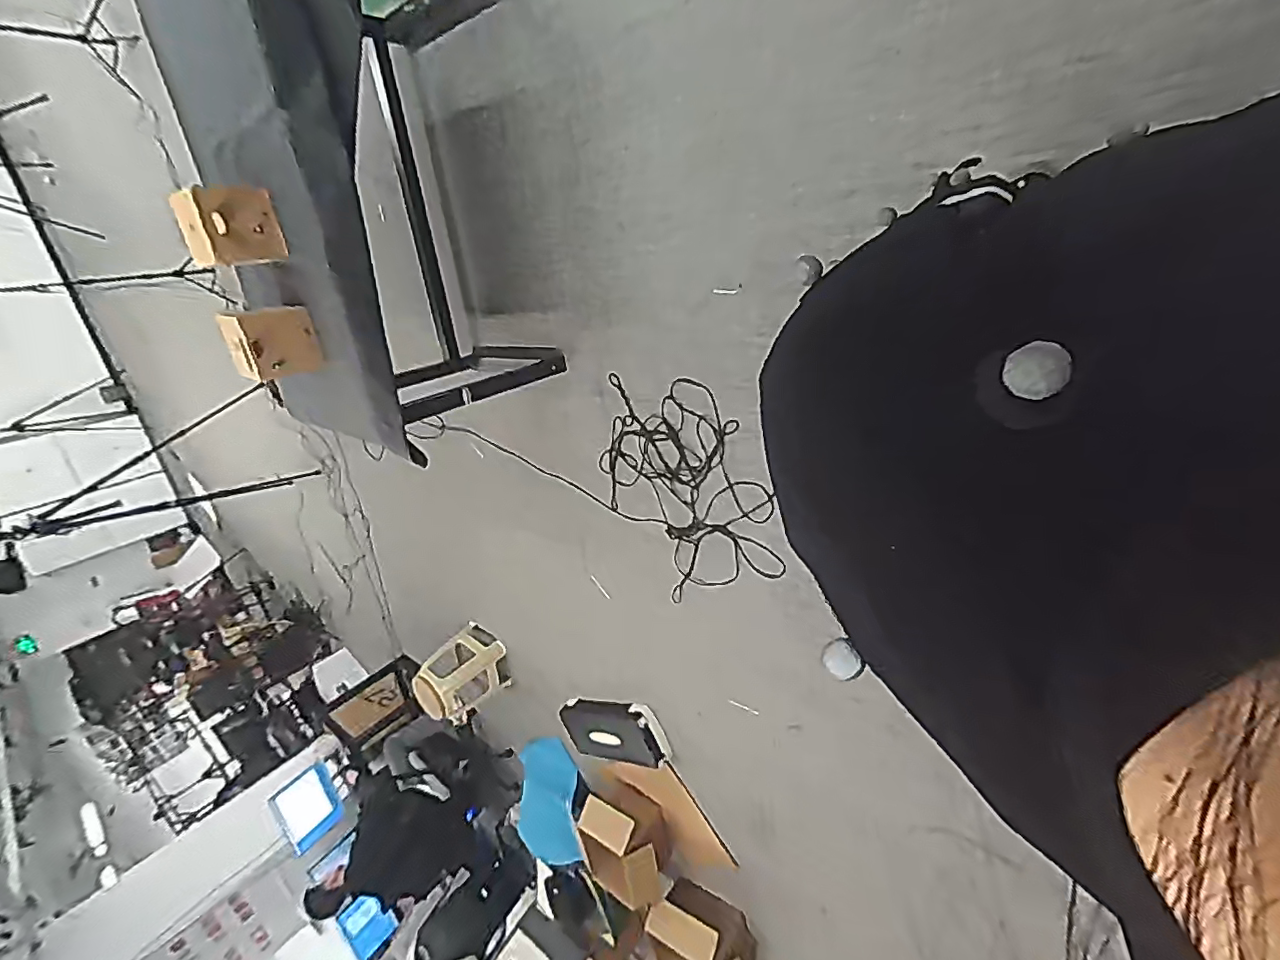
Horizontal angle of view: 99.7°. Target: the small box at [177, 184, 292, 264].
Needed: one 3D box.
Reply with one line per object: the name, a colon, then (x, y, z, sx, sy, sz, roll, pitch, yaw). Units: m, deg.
small box: (-1.024, -0.647, 1.375, 0.179, 0.176, 0.168, 12, 120, 37)
